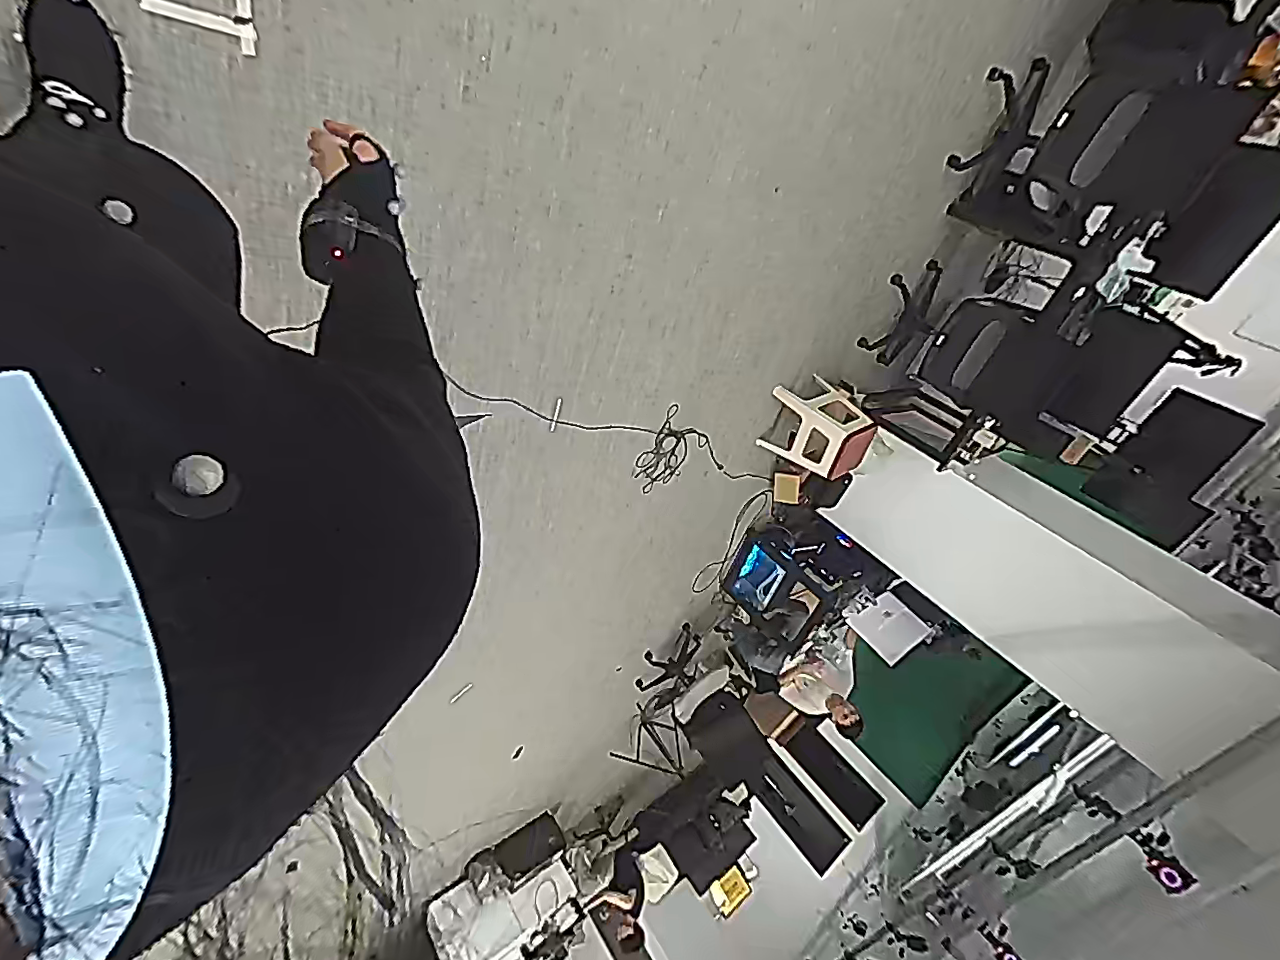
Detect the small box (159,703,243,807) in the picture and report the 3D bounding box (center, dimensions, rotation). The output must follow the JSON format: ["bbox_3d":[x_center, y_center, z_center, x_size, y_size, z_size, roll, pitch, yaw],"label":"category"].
[{"bbox_3d":[-1.251,0.777,1.544,0.168,0.176,0.179,-10,131,-44],"label":"small box"}]
